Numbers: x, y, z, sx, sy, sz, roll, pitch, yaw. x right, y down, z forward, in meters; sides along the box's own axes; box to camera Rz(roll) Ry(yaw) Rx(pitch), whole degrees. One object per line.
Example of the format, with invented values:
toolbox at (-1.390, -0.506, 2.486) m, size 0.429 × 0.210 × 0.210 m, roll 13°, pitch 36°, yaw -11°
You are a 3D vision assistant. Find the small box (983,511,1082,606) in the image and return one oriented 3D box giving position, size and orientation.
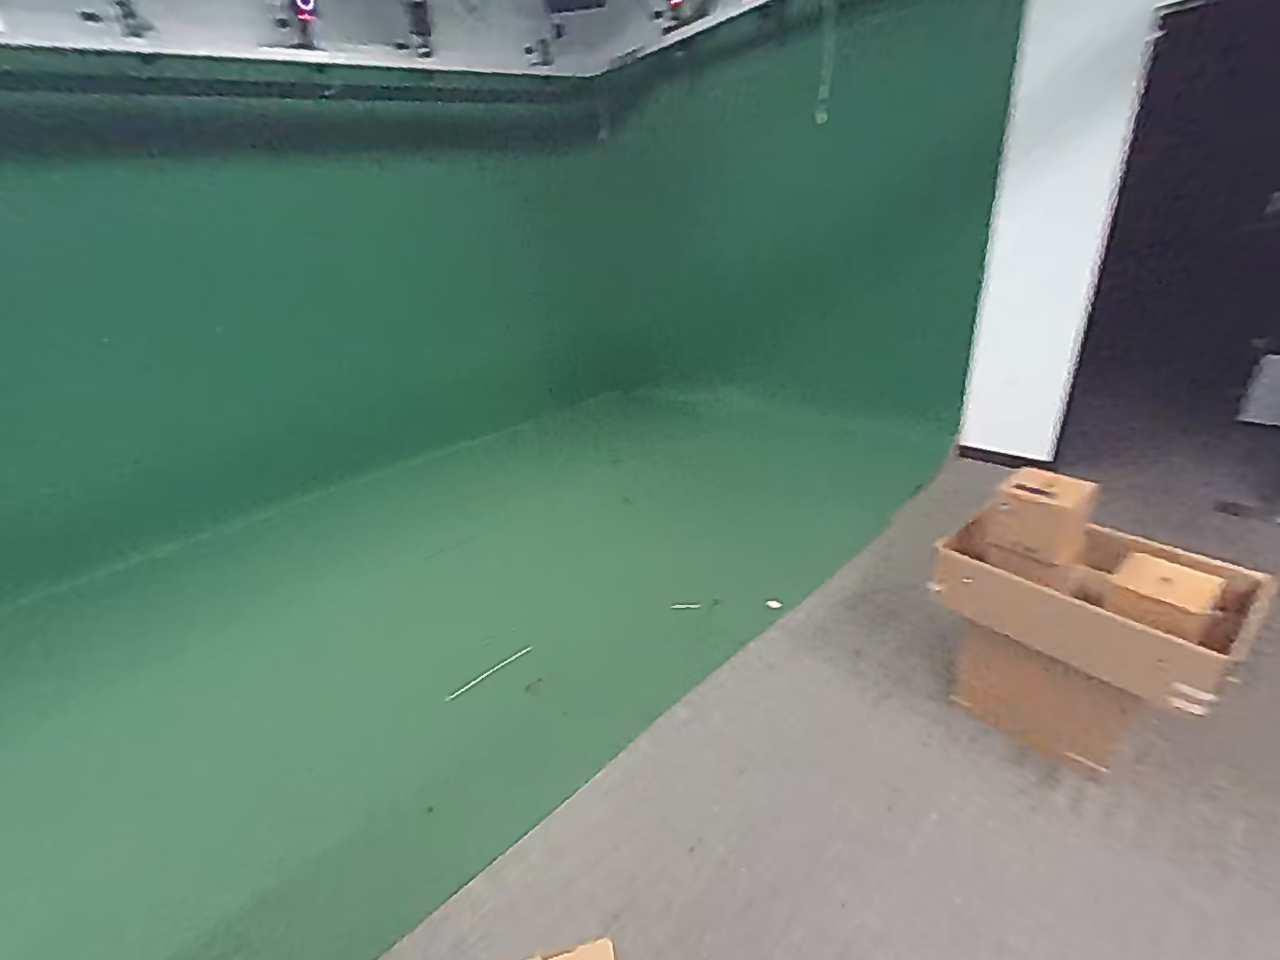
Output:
small box at (1.088, 0.216, 1.510) m, size 0.179 × 0.176 × 0.168 m, roll -27°, pitch 32°, yaw -30°
